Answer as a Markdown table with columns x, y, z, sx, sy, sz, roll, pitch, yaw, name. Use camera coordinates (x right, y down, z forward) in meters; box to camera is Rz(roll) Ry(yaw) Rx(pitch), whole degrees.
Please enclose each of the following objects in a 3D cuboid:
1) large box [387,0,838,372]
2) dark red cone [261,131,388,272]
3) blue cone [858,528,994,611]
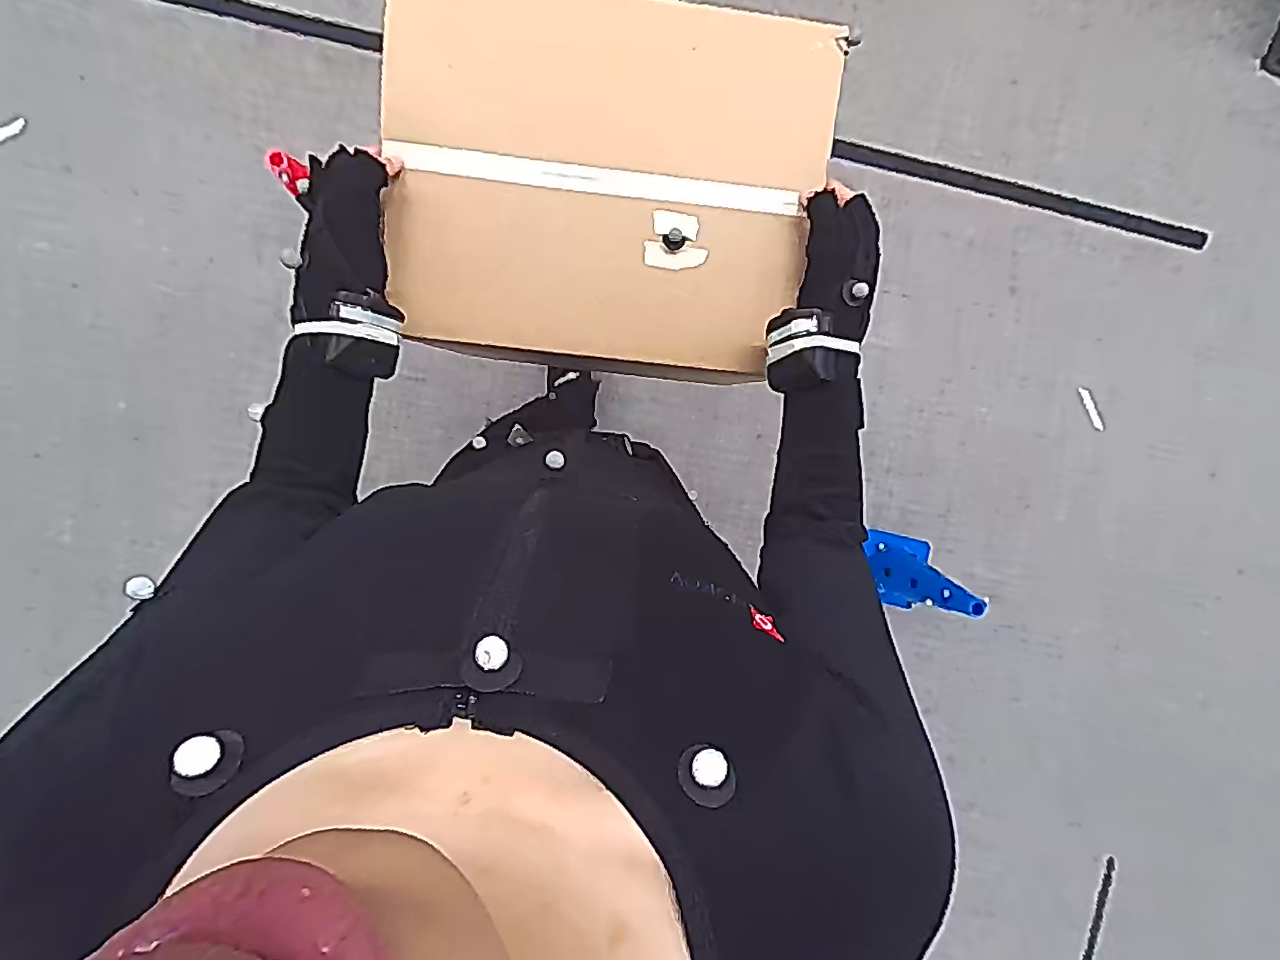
| x | y | z | sx | sy | sz | roll | pitch | yaw | name |
| --- | --- | --- | --- | --- | --- | --- | --- | --- | --- |
| -0.038 | -0.309 | 0.646 | 0.408 | 0.320 | 0.320 | 5 | 99 | -4 | large box |
| -0.683 | -0.619 | 1.164 | 0.201 | 0.394 | 0.202 | 17 | 93 | -6 | dark red cone |
| 0.729 | 0.253 | 1.358 | 0.192 | 0.380 | 0.193 | 15 | 93 | -6 | blue cone |
